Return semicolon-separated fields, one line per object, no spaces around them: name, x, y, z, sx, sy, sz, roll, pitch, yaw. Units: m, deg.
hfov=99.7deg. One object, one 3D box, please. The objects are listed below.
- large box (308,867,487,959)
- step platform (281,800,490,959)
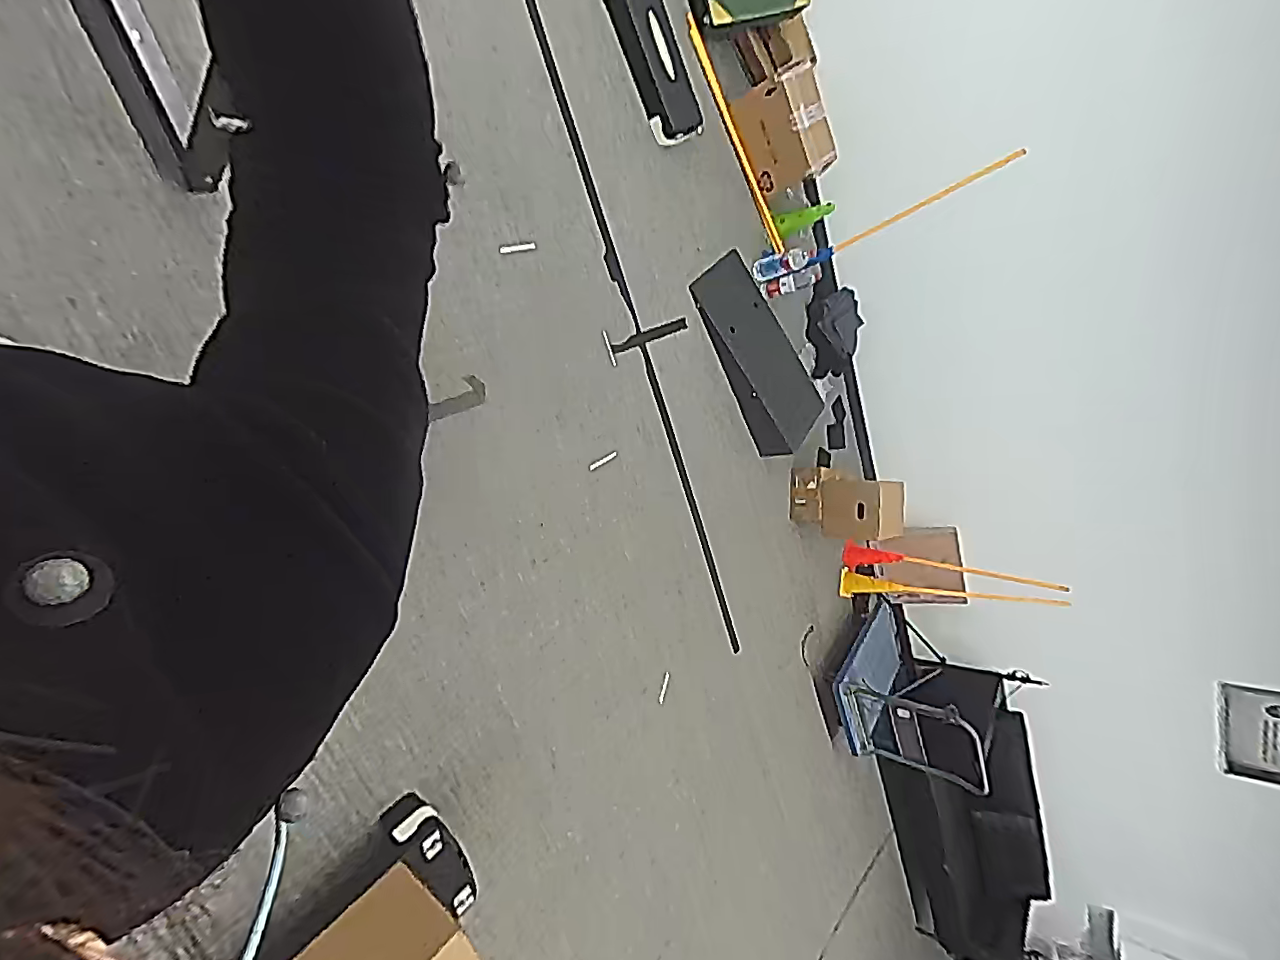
large box;-0.530;1.129;1.098;0.408;0.320;0.320;-33;112;-43
step platform;-0.697;1.117;1.271;0.684;0.204;0.286;-26;106;-45
